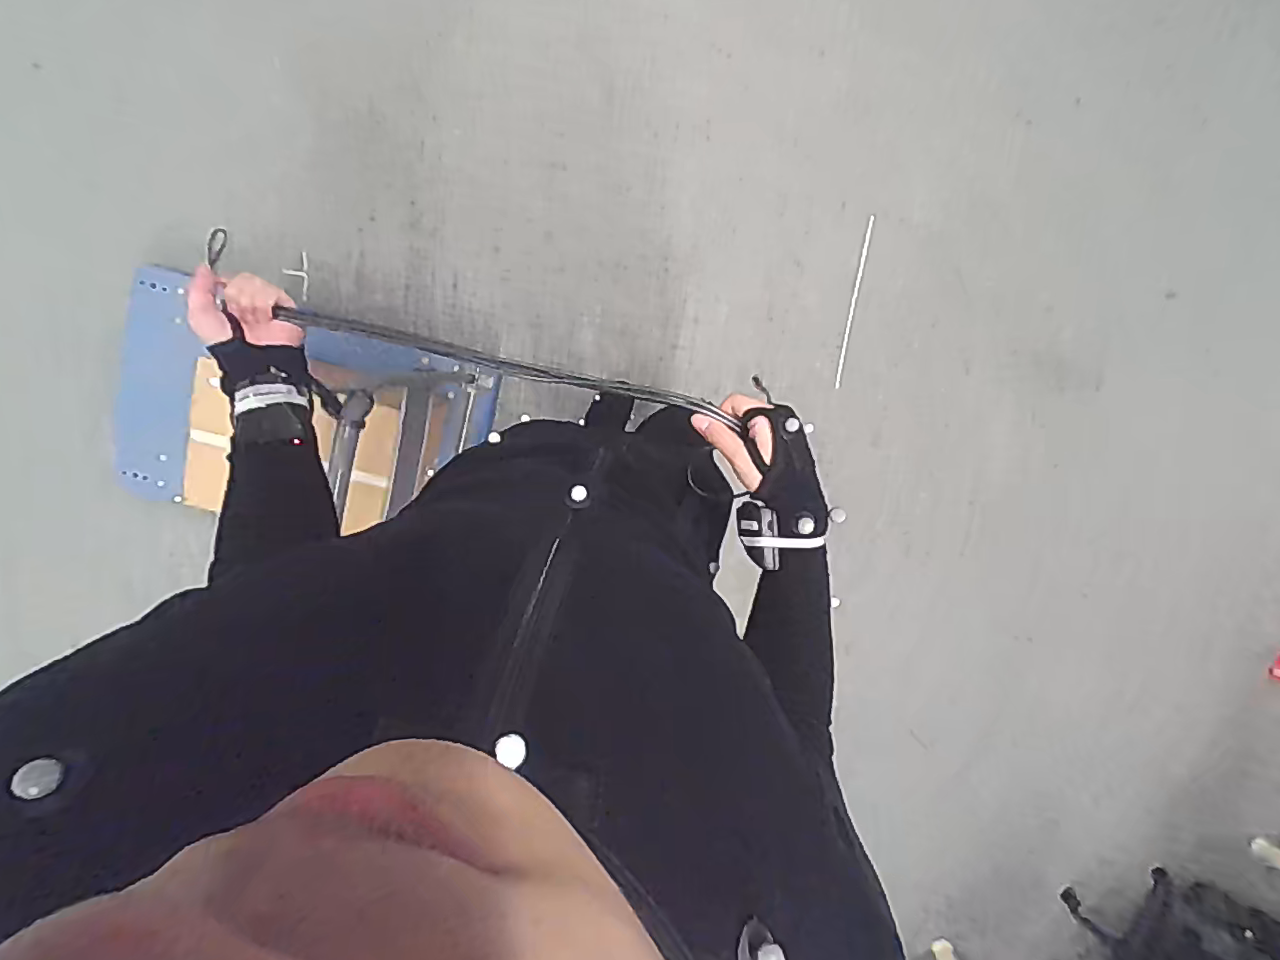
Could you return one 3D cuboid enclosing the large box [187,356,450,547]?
[{"bbox_3d":[-0.699,-0.080,1.235,0.408,0.320,0.320,15,101,-6],"label":"large box"}]
